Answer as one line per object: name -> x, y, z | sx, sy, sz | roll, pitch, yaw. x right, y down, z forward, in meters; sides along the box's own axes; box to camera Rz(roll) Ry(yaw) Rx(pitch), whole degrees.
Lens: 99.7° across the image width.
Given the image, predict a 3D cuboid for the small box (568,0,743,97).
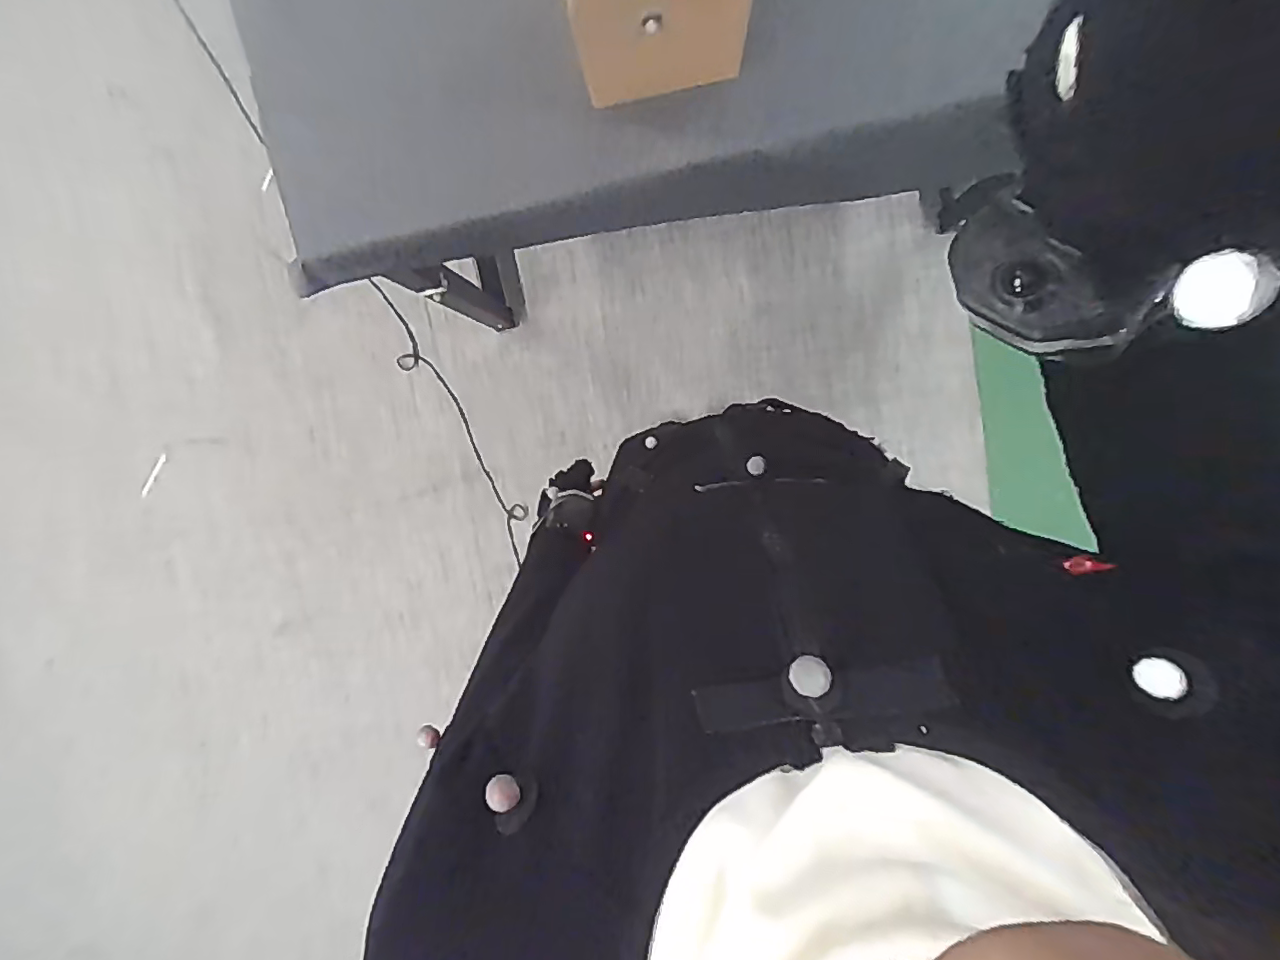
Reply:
small box -> 0.012, -0.537, 0.558 | 0.179, 0.176, 0.168 | -8, 96, 5
